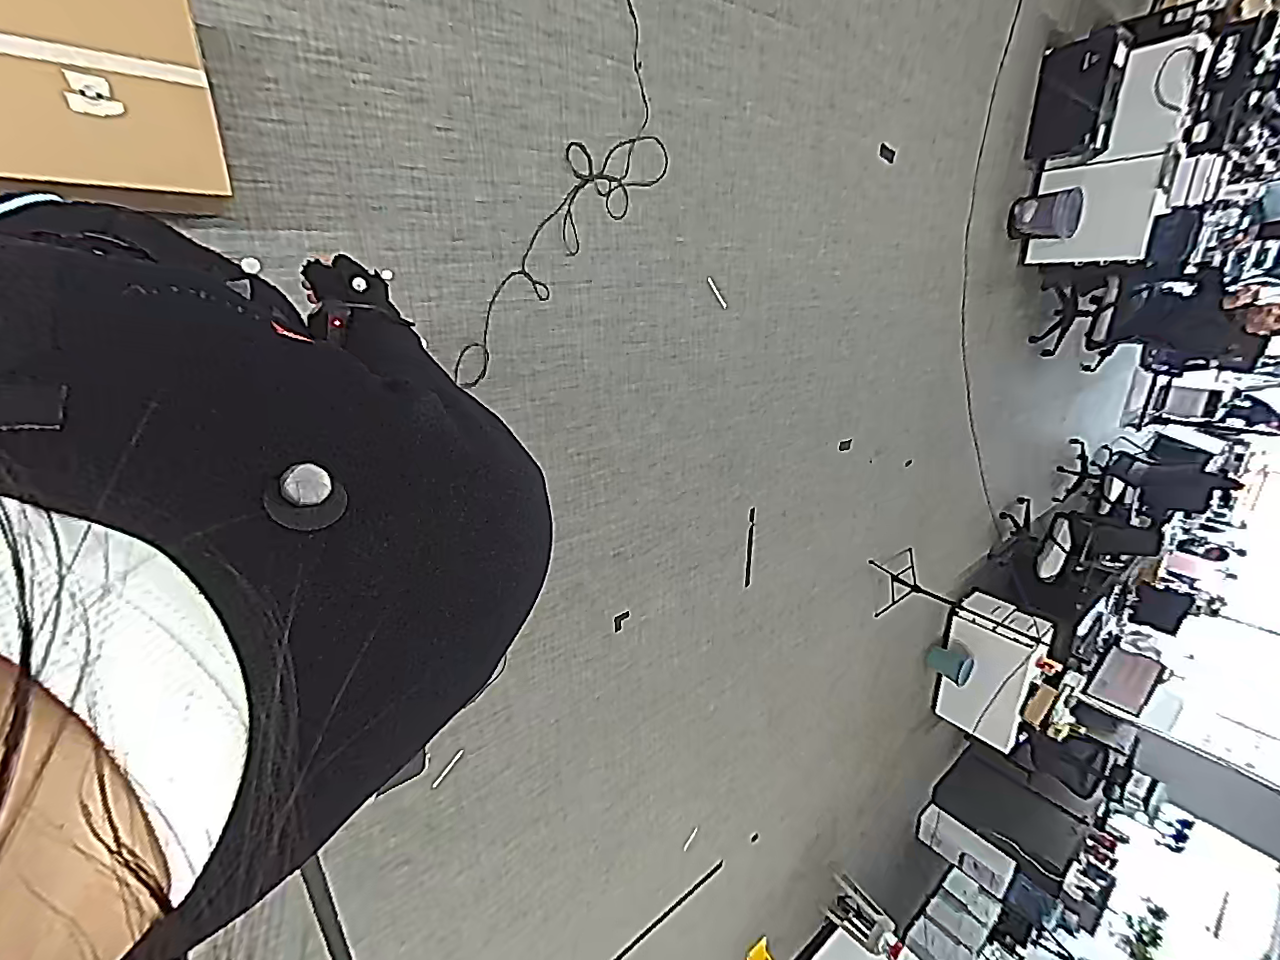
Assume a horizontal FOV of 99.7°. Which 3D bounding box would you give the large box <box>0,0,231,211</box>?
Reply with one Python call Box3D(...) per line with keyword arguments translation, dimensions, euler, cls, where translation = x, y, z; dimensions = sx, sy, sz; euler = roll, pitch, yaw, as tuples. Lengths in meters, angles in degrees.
Box3D(translation=(-0.906, -0.602, 0.810), dimensions=(0.408, 0.320, 0.320), euler=(-15, 115, -36), cls="large box")
